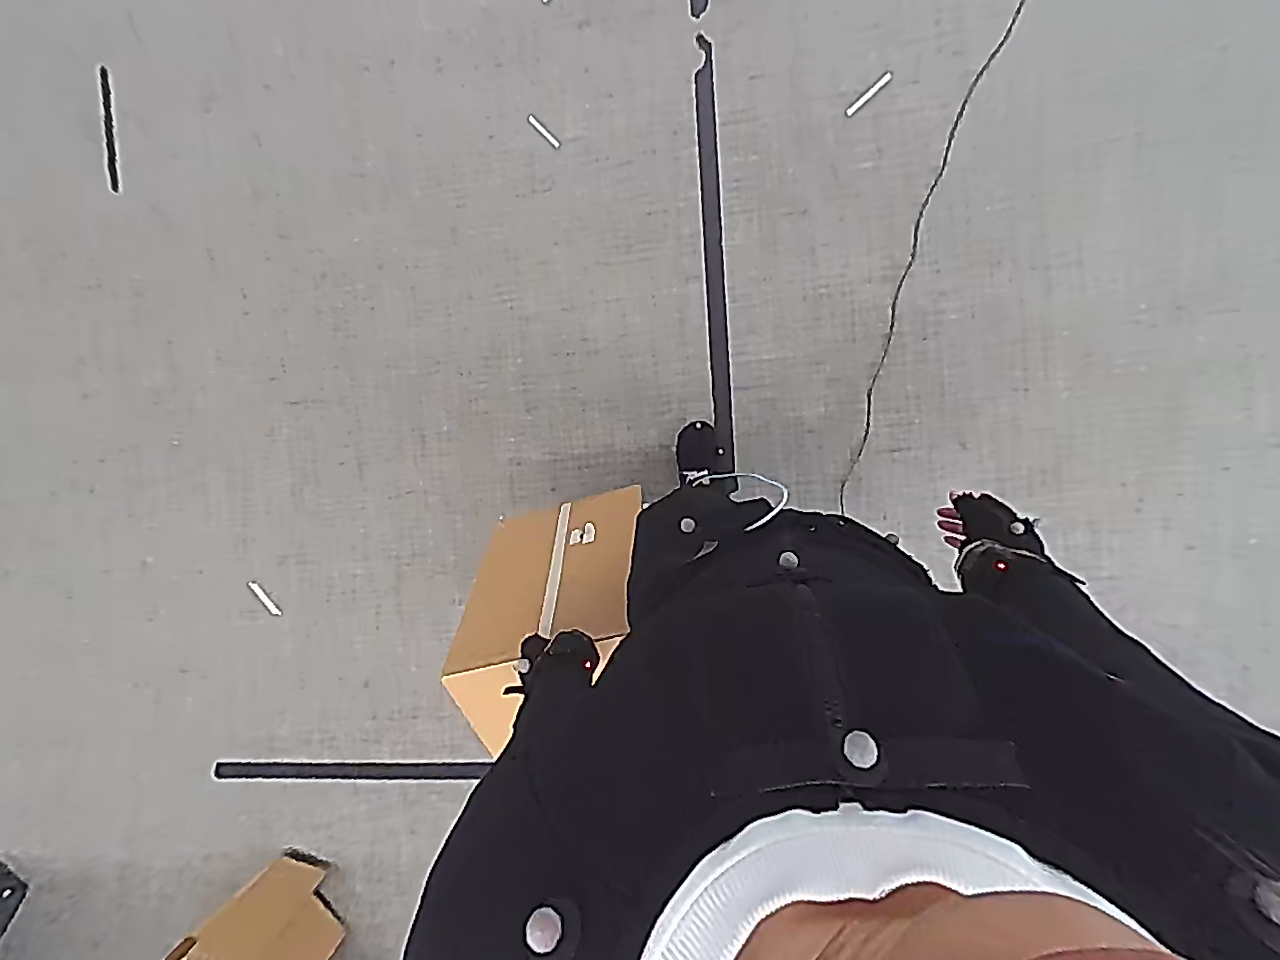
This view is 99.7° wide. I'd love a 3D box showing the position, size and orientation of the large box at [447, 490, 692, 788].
[{"bbox_3d":[-0.103,0.278,1.016,0.320,0.408,0.320,-14,117,7],"label":"large box"}]
